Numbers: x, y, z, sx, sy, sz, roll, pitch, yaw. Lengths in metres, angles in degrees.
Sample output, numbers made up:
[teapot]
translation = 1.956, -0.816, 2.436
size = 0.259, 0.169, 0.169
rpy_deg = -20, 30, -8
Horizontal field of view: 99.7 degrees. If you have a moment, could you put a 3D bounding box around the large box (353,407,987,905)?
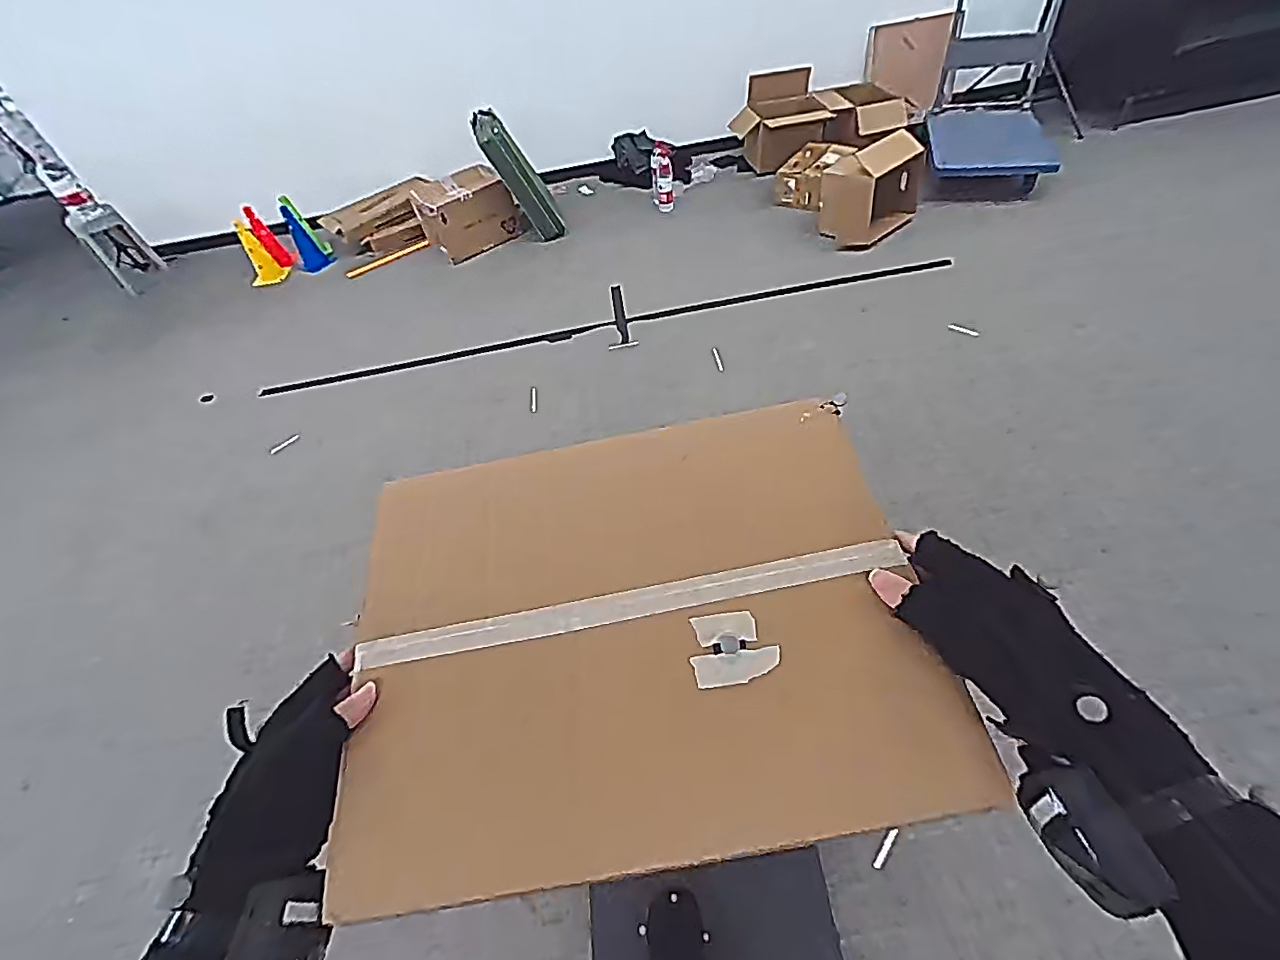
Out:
[large box]
translation = 0.011, 0.177, 0.532
size = 0.408, 0.320, 0.320
rpy_deg = -11, 56, 1
